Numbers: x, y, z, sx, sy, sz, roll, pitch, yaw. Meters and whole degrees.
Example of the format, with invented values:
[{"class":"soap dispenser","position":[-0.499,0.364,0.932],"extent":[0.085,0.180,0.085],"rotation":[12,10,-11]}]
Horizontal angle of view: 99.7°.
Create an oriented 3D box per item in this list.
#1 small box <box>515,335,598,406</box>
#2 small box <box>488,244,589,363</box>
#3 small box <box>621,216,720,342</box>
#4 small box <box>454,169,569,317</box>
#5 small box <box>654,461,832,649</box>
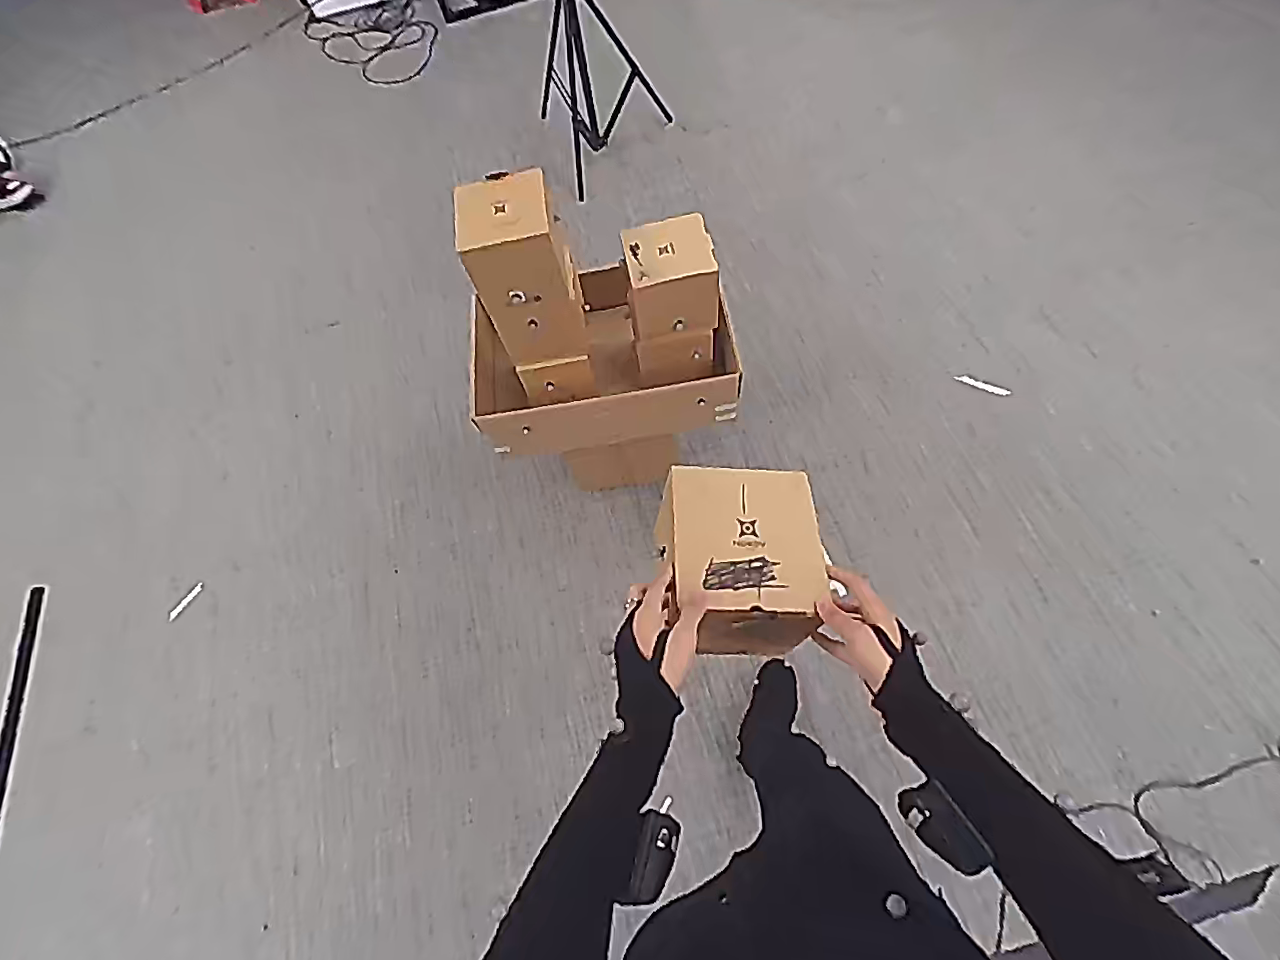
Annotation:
[{"class":"small box","position":[-0.201,-0.295,1.309],"extent":[0.168,0.176,0.179],"rotation":[-10,64,1]},{"class":"small box","position":[-0.215,-0.372,1.164],"extent":[0.179,0.176,0.168],"rotation":[-9,64,2]},{"class":"small box","position":[0.064,-0.421,1.148],"extent":[0.179,0.176,0.168],"rotation":[-12,65,0]},{"class":"small box","position":[-0.237,-0.439,1.016],"extent":[0.168,0.176,0.179],"rotation":[-11,63,2]},{"class":"small box","position":[0.108,0.097,0.650],"extent":[0.168,0.176,0.179],"rotation":[3,57,-4]}]
